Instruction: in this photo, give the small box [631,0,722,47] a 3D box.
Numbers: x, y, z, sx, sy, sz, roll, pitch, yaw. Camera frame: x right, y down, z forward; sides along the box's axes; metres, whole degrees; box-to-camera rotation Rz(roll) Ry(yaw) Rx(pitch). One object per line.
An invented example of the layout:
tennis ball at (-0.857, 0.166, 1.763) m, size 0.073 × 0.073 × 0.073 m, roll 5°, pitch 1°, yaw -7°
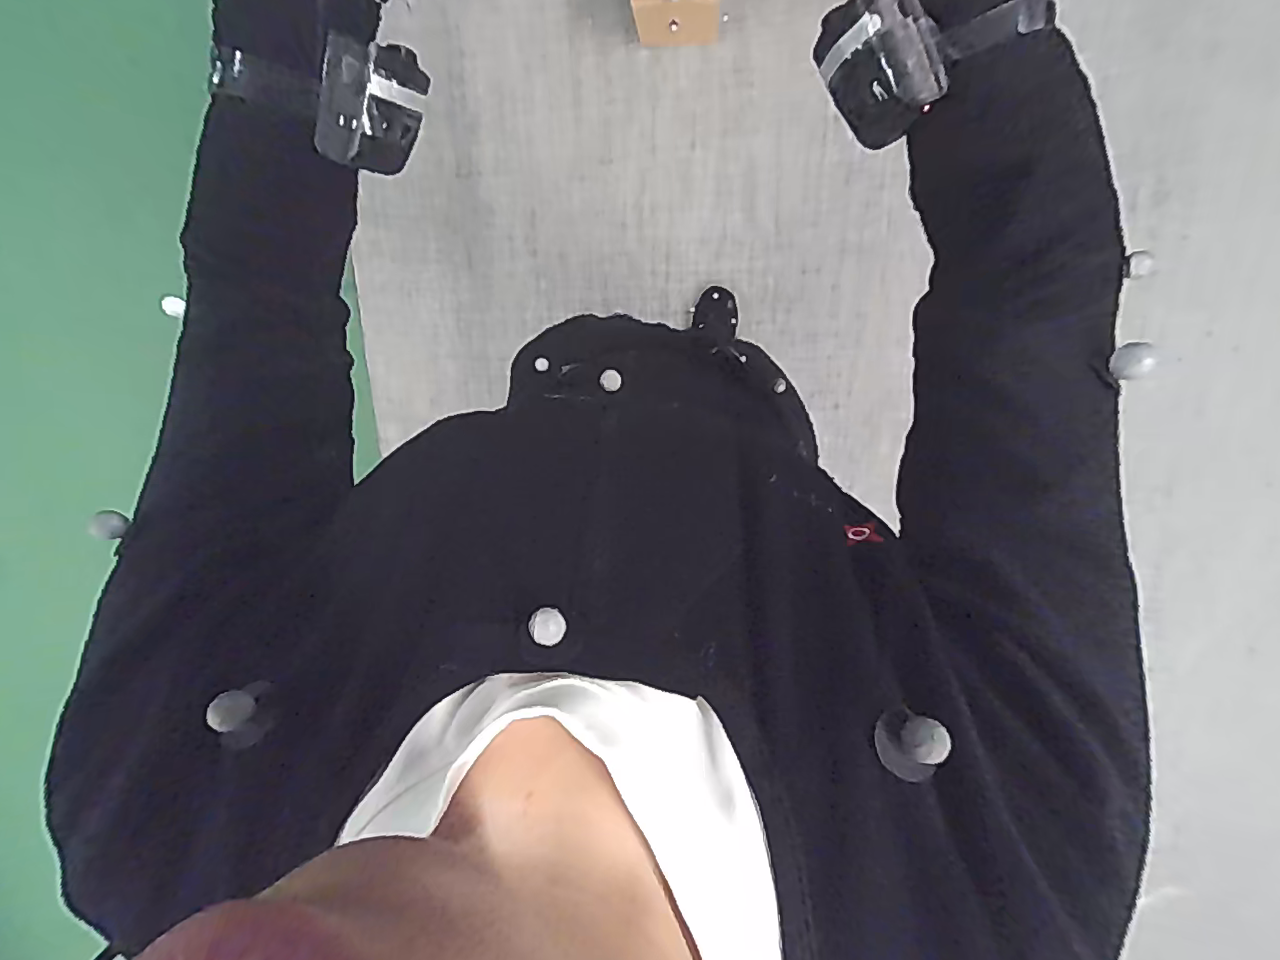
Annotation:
small box at (0.081, -1.025, 1.105) m, size 0.179 × 0.176 × 0.168 m, roll 3°, pitch 105°, yaw 9°
